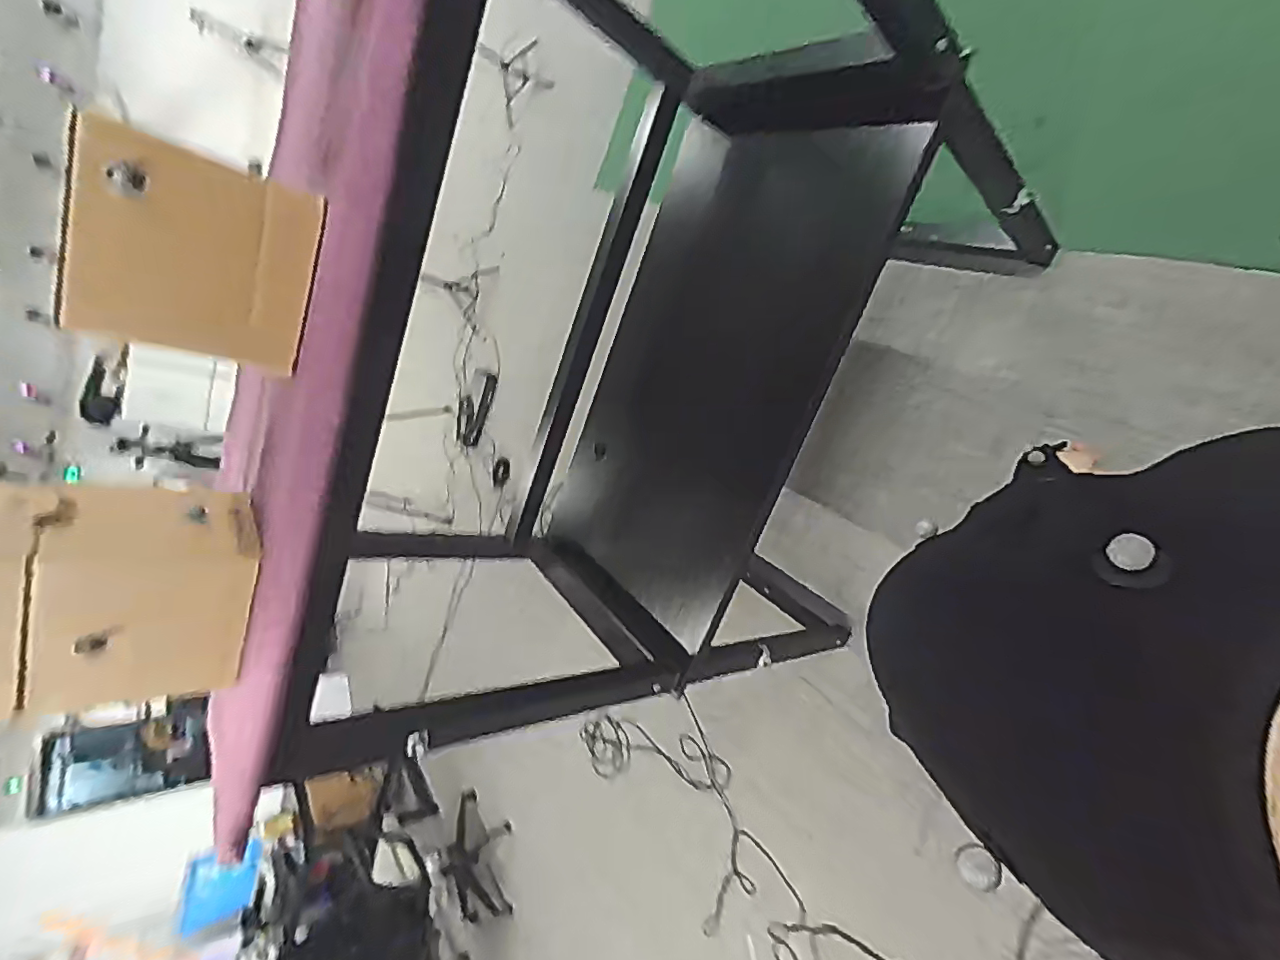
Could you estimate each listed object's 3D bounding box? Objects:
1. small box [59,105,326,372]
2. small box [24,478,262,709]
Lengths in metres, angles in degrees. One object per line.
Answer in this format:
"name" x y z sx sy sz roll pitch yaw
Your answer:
"small box" -0.419 -0.220 0.525 0.168 0.176 0.179 36 111 46
"small box" -0.536 0.116 0.599 0.168 0.176 0.179 34 109 43
